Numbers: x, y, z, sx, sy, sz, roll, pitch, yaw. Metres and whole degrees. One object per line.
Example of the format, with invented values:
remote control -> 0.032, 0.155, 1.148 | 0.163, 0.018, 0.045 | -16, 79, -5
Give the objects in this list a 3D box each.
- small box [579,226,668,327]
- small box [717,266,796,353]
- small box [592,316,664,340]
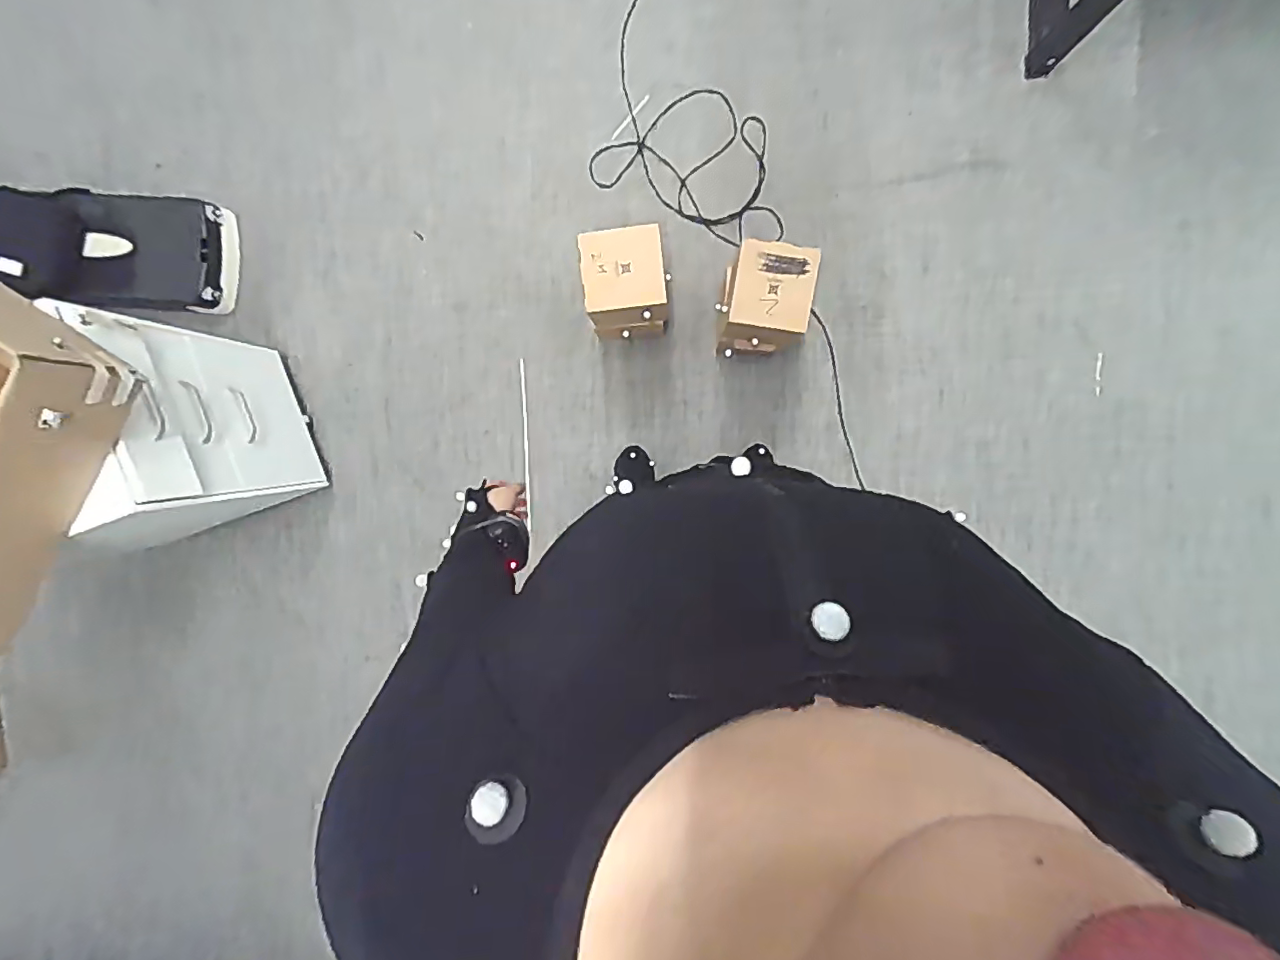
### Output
small box -> -0.032, -0.450, 1.217 | 0.179, 0.176, 0.168 | -6, 94, 4
small box -> 0.286, -0.423, 1.366 | 0.168, 0.176, 0.179 | 4, 94, 3
small box -> -0.030, -0.458, 1.382 | 0.179, 0.176, 0.168 | -4, 95, 4
